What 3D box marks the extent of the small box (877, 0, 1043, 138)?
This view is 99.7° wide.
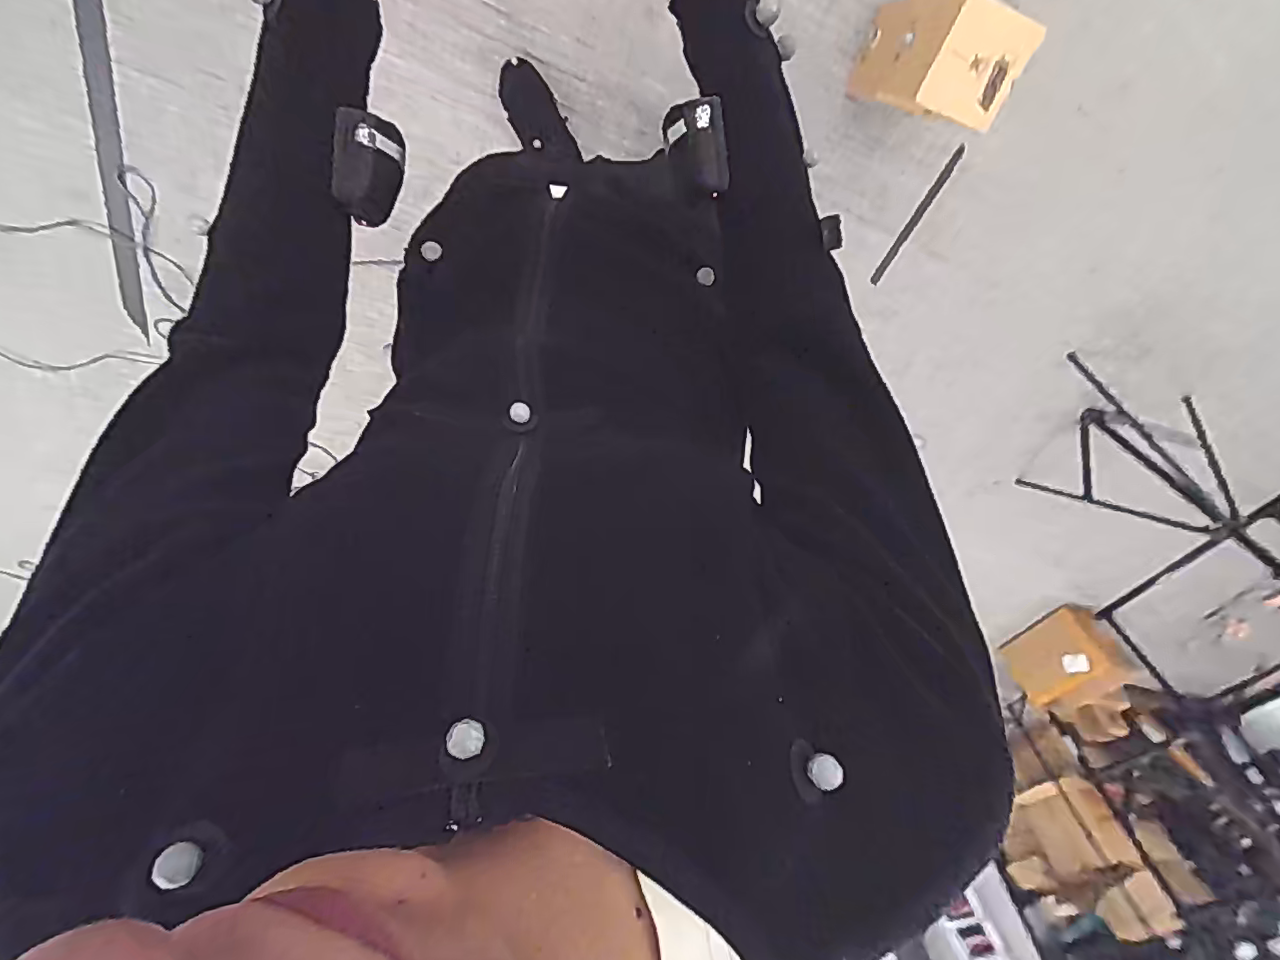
[{"bbox_3d":[0.601,-0.792,1.039,0.179,0.176,0.168,11,128,-16],"label":"small box"}]

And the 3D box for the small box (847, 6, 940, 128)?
[{"bbox_3d":[0.587,-0.893,1.167,0.179,0.176,0.168,10,129,-15],"label":"small box"}]
